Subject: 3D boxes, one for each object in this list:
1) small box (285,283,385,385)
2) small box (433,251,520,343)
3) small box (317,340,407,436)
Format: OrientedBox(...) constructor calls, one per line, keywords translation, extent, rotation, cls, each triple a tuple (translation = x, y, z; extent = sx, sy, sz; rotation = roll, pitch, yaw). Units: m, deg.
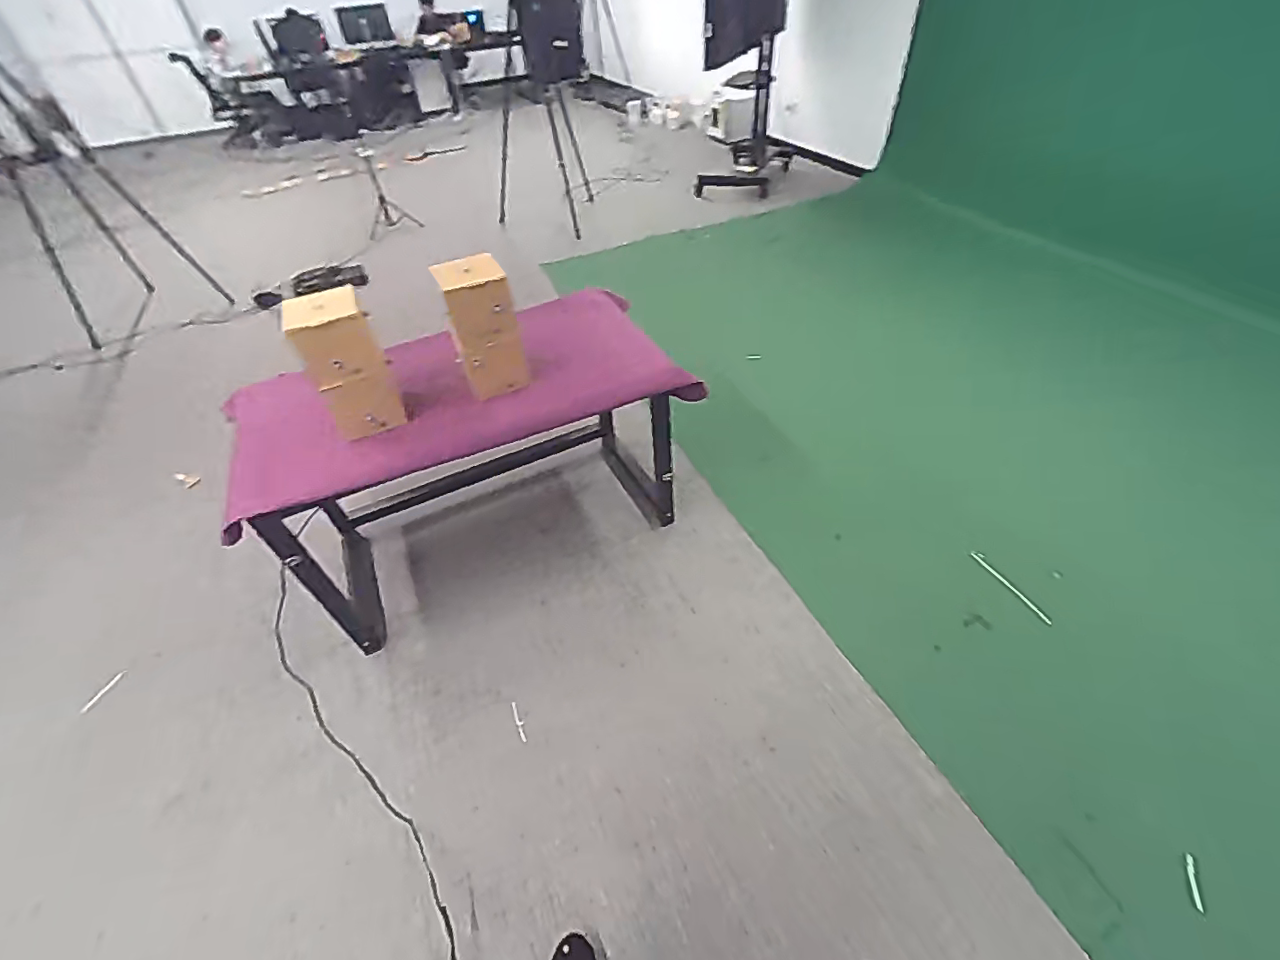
OrientedBox(translation=(-0.758, -0.365, 1.349), extent=(0.168, 0.176, 0.179), rotation=(-21, 48, -17), cls="small box")
OrientedBox(translation=(-0.432, -0.483, 1.442), extent=(0.168, 0.176, 0.179), rotation=(-20, 46, -16), cls="small box")
OrientedBox(translation=(-0.749, -0.248, 1.462), extent=(0.168, 0.176, 0.179), rotation=(-20, 47, -15), cls="small box")
